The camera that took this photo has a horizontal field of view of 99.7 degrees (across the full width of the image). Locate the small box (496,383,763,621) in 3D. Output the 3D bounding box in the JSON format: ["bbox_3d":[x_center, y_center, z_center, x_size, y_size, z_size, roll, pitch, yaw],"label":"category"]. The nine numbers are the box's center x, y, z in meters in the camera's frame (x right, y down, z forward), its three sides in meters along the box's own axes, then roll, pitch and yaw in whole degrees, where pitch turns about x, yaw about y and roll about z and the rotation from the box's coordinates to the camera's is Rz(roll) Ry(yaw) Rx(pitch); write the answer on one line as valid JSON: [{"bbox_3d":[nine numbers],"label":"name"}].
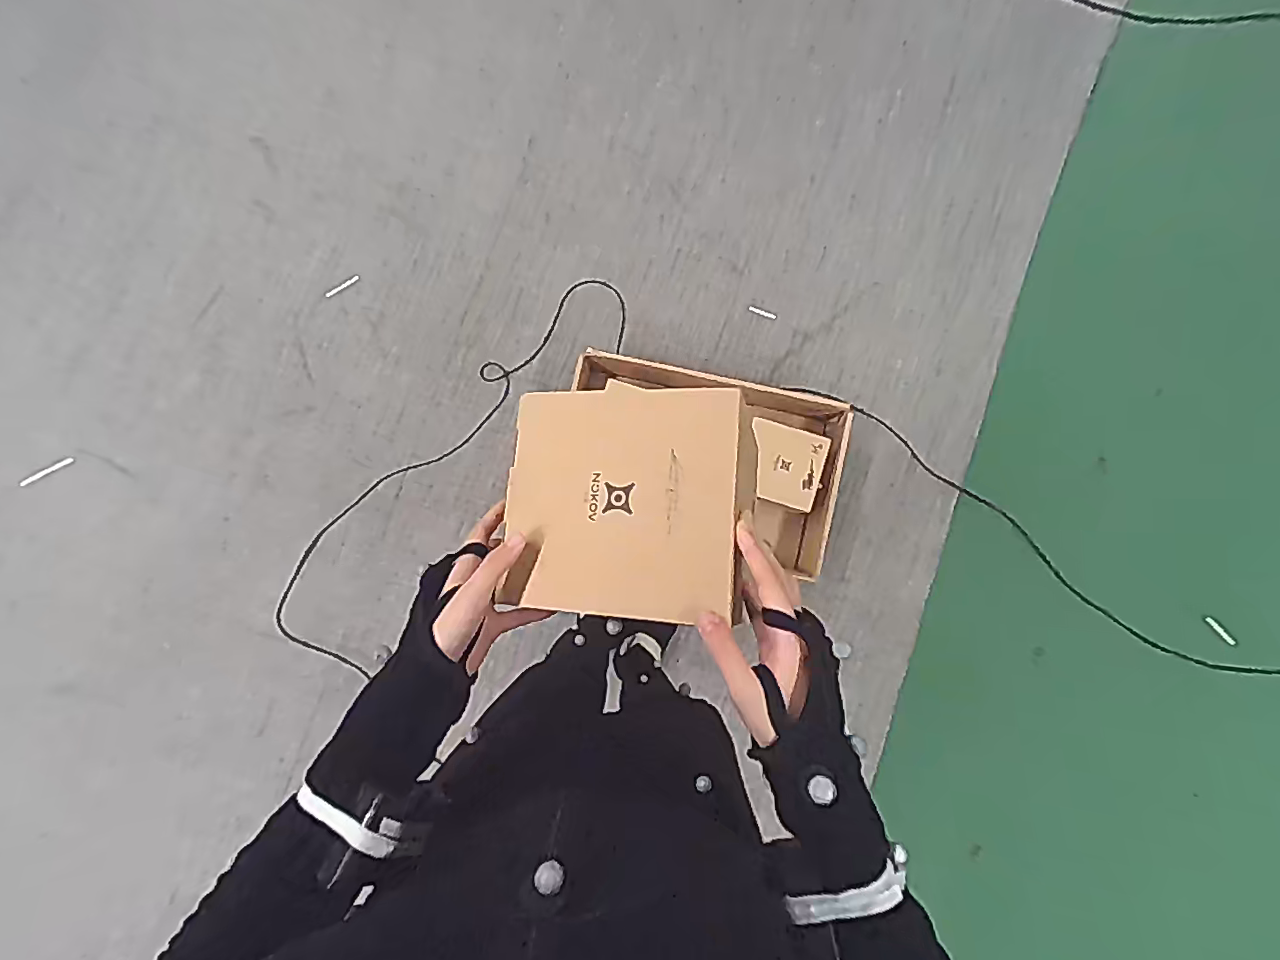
[{"bbox_3d":[0.006,0.026,0.461,0.179,0.176,0.168,2,79,17],"label":"small box"}]

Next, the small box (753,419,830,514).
[{"bbox_3d":[0.299,-0.023,1.222,0.179,0.176,0.168,18,87,2],"label":"small box"}]
